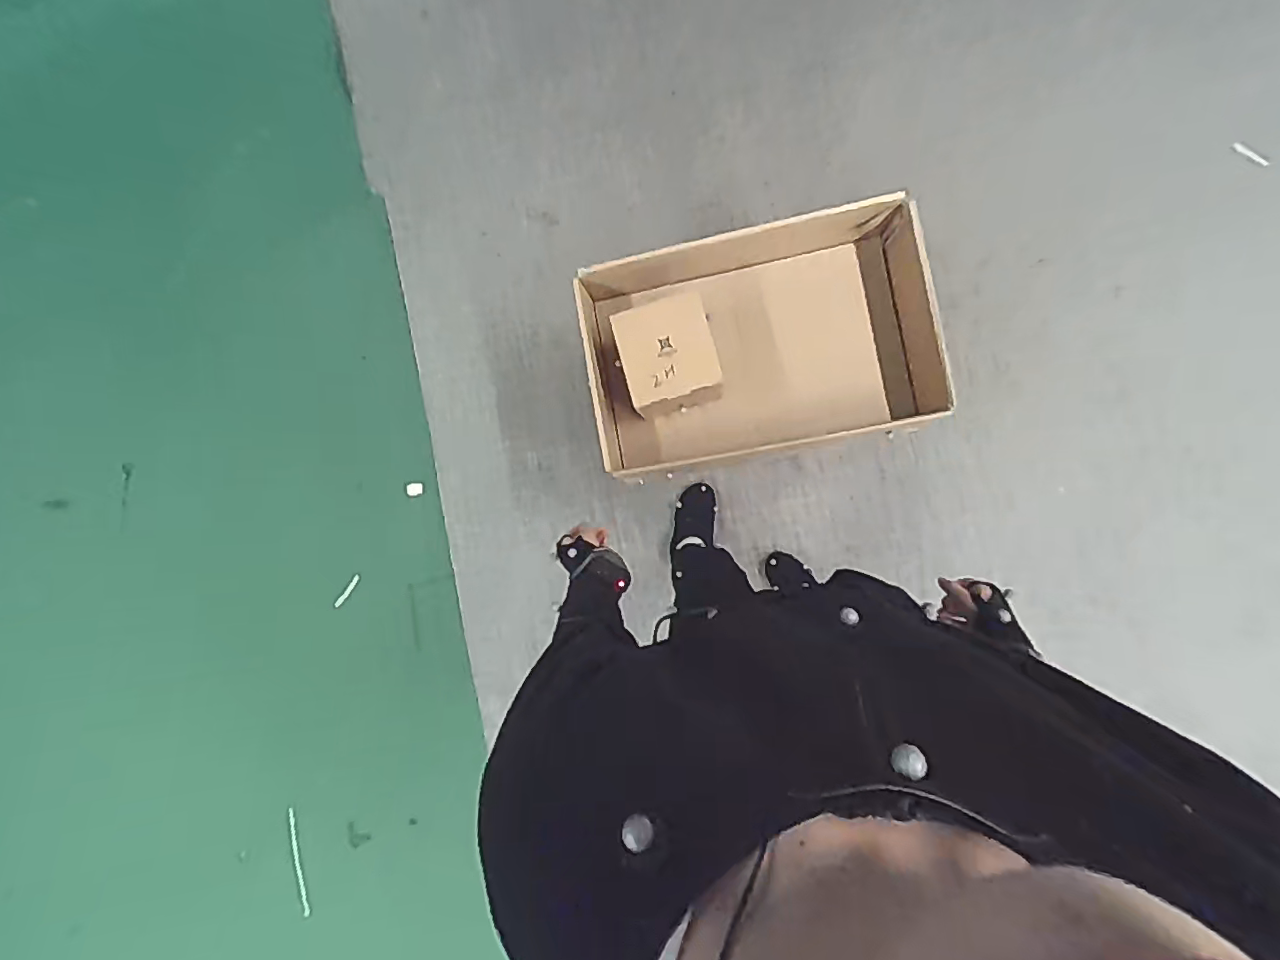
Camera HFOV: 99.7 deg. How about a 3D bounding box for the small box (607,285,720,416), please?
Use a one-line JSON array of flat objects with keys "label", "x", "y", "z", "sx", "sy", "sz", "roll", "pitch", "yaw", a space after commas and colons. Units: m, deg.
[{"label": "small box", "x": 0.047, "y": -0.232, "z": 1.015, "sx": 0.168, "sy": 0.176, "sz": 0.179, "roll": -15, "pitch": 87, "yaw": 7}]
